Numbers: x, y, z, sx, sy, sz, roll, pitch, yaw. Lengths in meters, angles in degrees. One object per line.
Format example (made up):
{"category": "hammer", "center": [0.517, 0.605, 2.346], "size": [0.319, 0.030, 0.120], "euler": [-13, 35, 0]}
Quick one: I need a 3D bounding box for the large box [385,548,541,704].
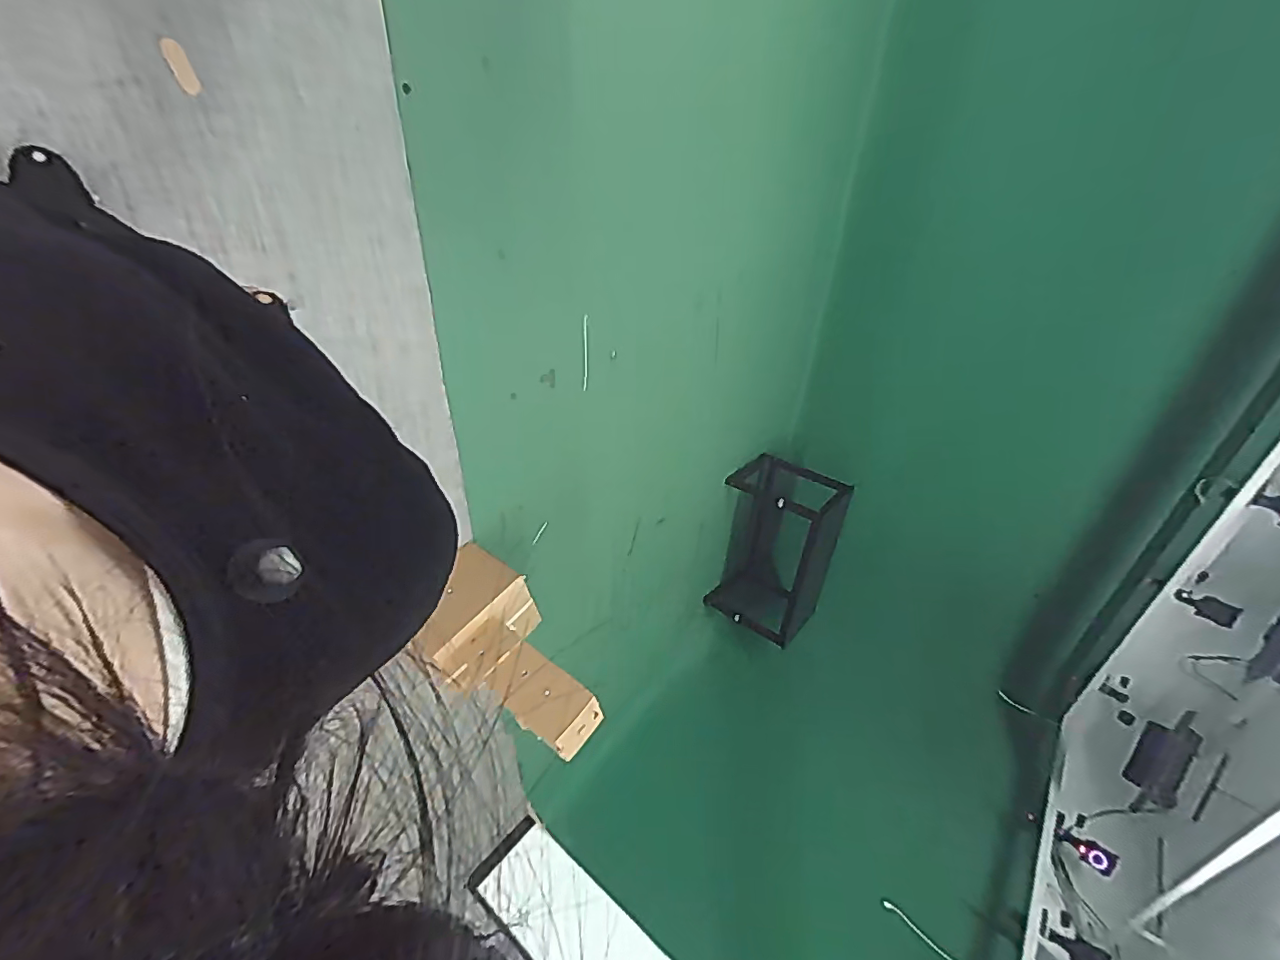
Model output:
{"category": "large box", "center": [-0.651, 0.536, 2.030], "size": [0.408, 0.320, 0.320], "euler": [-45, 144, -32]}

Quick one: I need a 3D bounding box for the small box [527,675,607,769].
{"category": "small box", "center": [-0.234, 0.758, 1.705], "size": [0.179, 0.176, 0.168], "euler": [-43, 142, -30]}

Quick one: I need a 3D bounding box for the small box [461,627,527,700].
{"category": "small box", "center": [-0.489, 0.638, 1.873], "size": [0.168, 0.176, 0.179], "euler": [-43, 142, -31]}

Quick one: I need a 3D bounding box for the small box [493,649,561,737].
{"category": "small box", "center": [-0.364, 0.700, 1.788], "size": [0.179, 0.176, 0.168], "euler": [-45, 143, -31]}
